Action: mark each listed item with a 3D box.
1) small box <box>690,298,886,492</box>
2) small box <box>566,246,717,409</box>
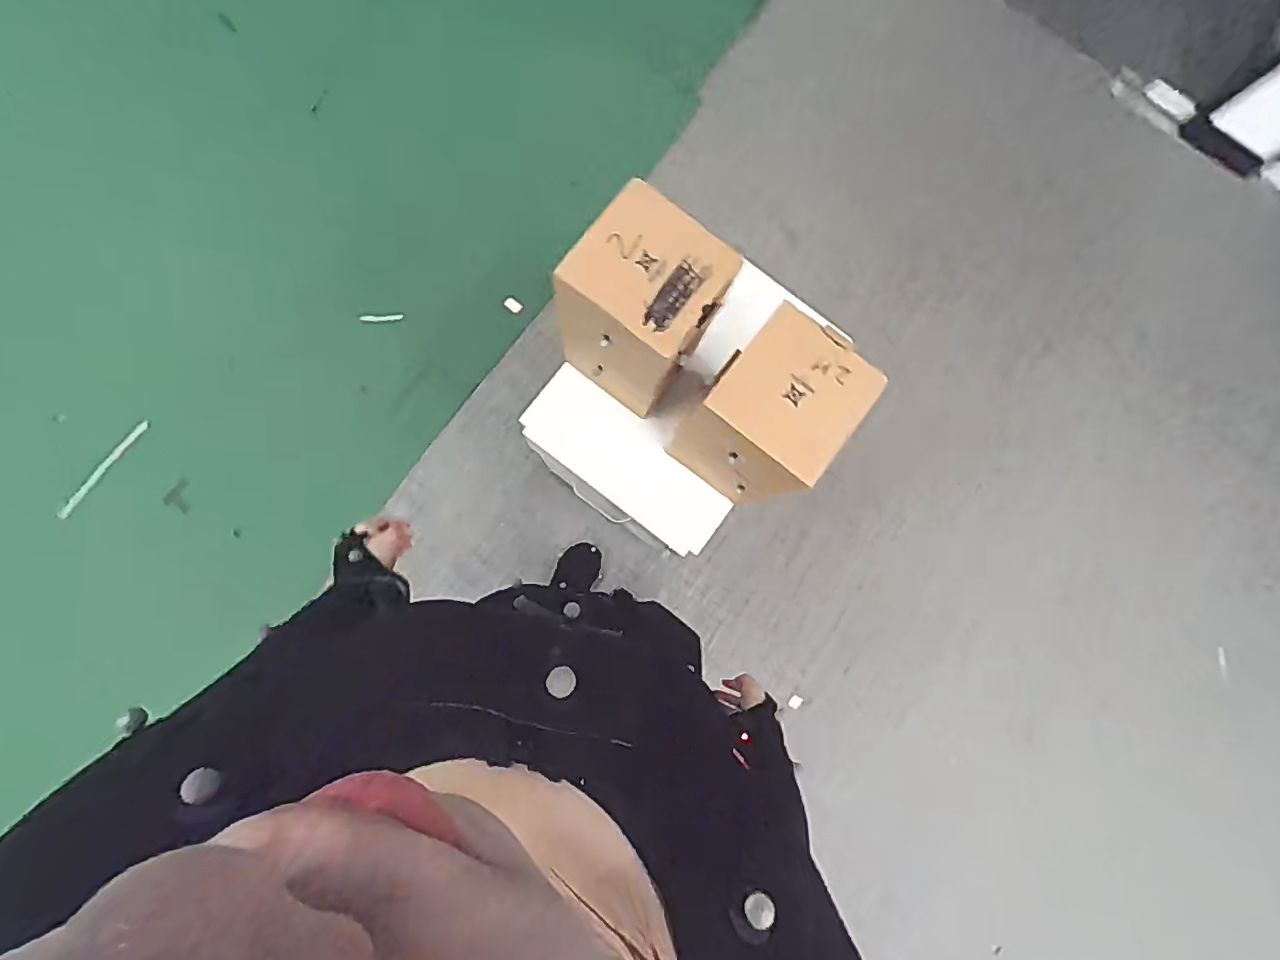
[{"bbox_3d":[0.183,-0.100,0.733,0.168,0.176,0.179,39,82,0],"label":"small box"},{"bbox_3d":[-0.004,-0.239,0.898,0.179,0.176,0.168,37,82,-2],"label":"small box"}]
